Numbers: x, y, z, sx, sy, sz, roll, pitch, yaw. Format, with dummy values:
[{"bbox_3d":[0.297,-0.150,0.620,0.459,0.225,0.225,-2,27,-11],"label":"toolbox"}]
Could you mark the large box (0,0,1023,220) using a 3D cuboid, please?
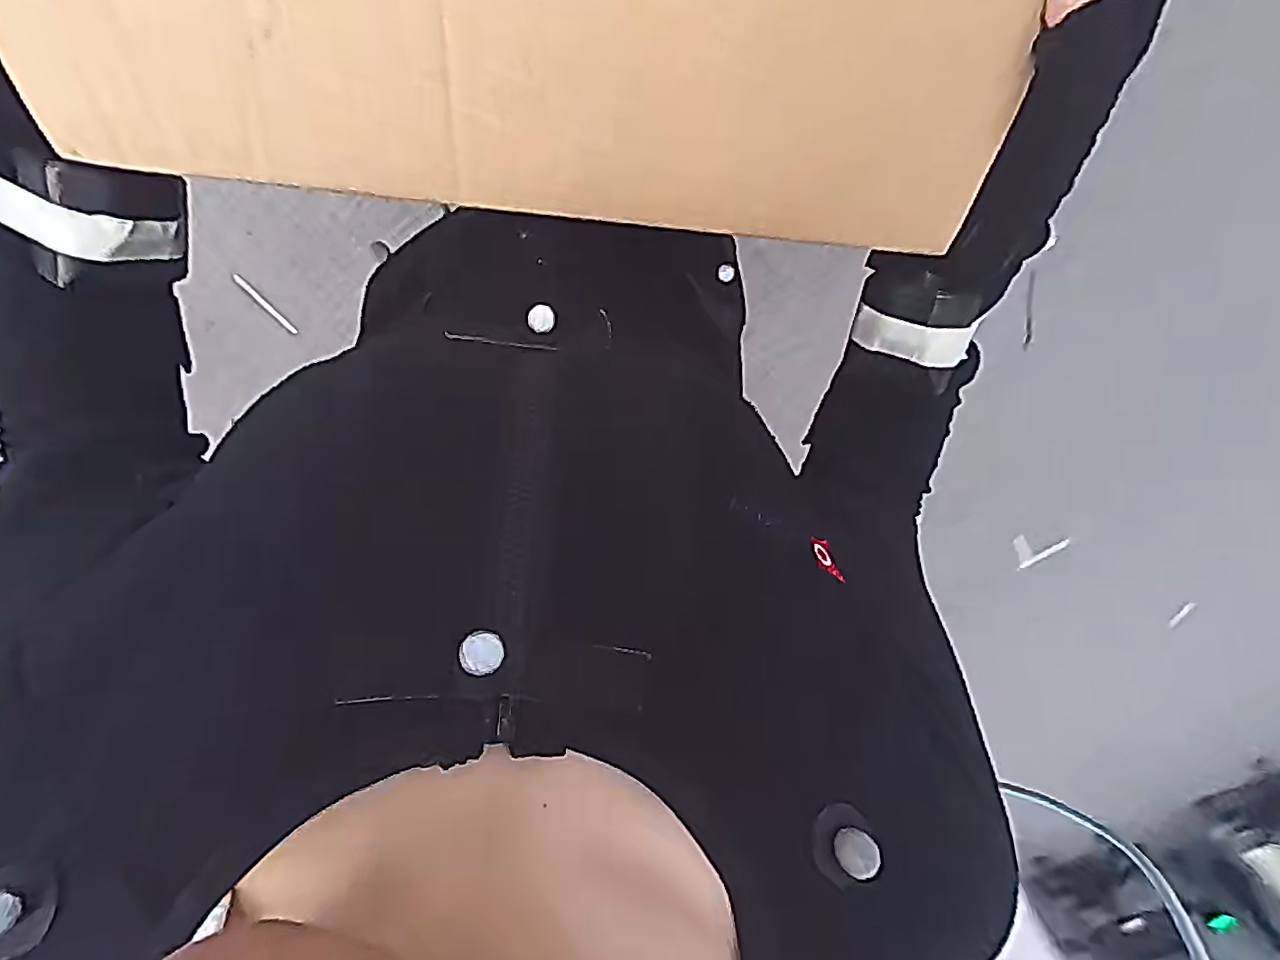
[{"bbox_3d":[-0.041,-0.351,0.262,0.408,0.320,0.320,2,133,-6],"label":"large box"}]
